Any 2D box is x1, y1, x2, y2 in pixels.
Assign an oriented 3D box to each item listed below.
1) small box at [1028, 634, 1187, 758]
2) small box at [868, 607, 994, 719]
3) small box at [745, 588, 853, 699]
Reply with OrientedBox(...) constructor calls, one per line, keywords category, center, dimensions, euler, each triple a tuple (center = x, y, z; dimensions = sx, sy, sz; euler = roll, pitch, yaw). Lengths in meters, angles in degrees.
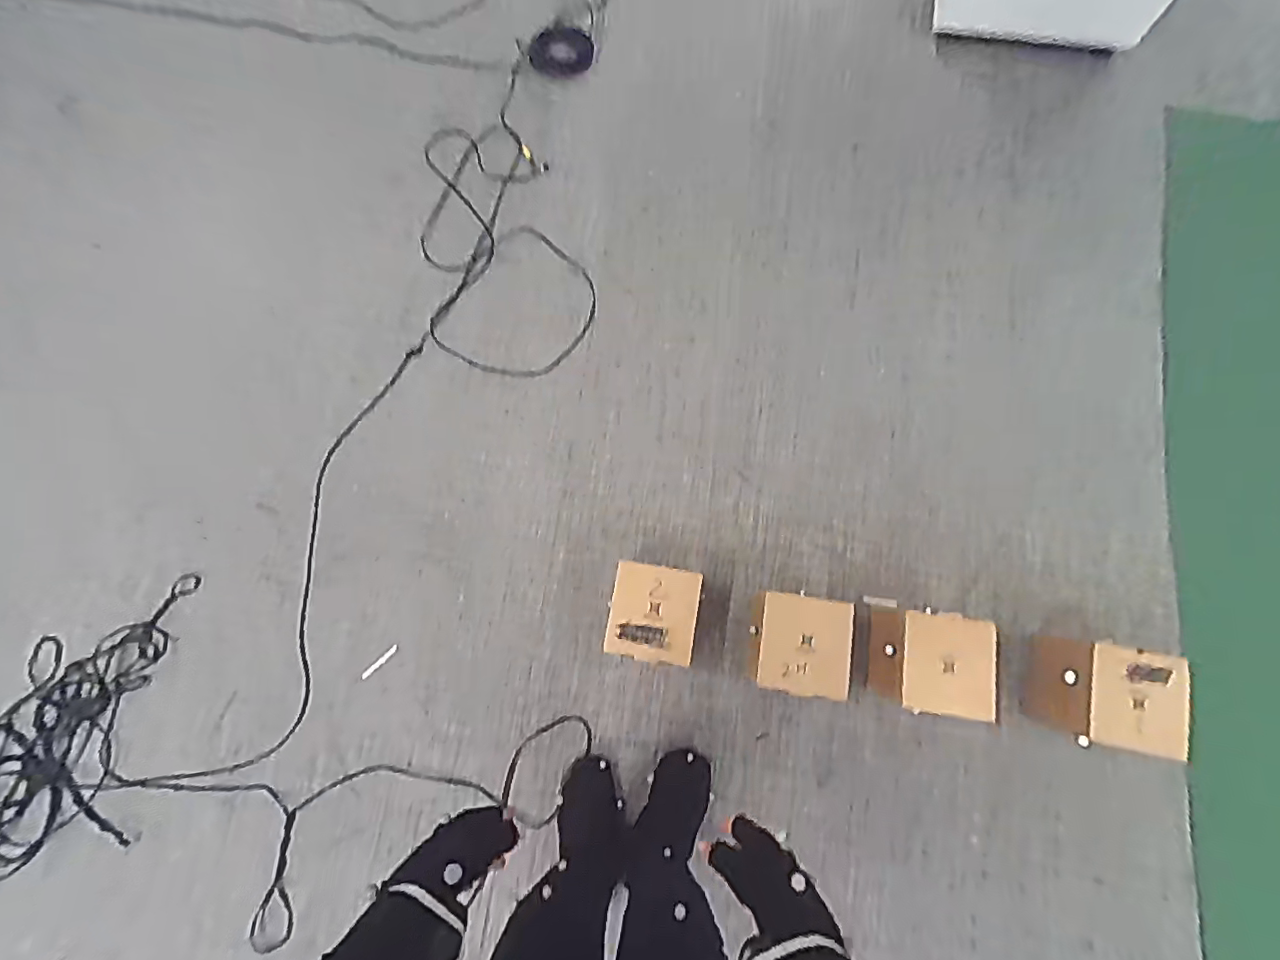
OrientedBox(category="small box", center=(0.883, 0.400, 1.036), dimensions=(0.168, 0.176, 0.179), euler=(11, 78, 5))
OrientedBox(category="small box", center=(0.562, 0.350, 1.062), dimensions=(0.168, 0.176, 0.179), euler=(7, 77, 4))
OrientedBox(category="small box", center=(0.309, 0.319, 1.076), dimensions=(0.168, 0.176, 0.179), euler=(8, 77, 5))
